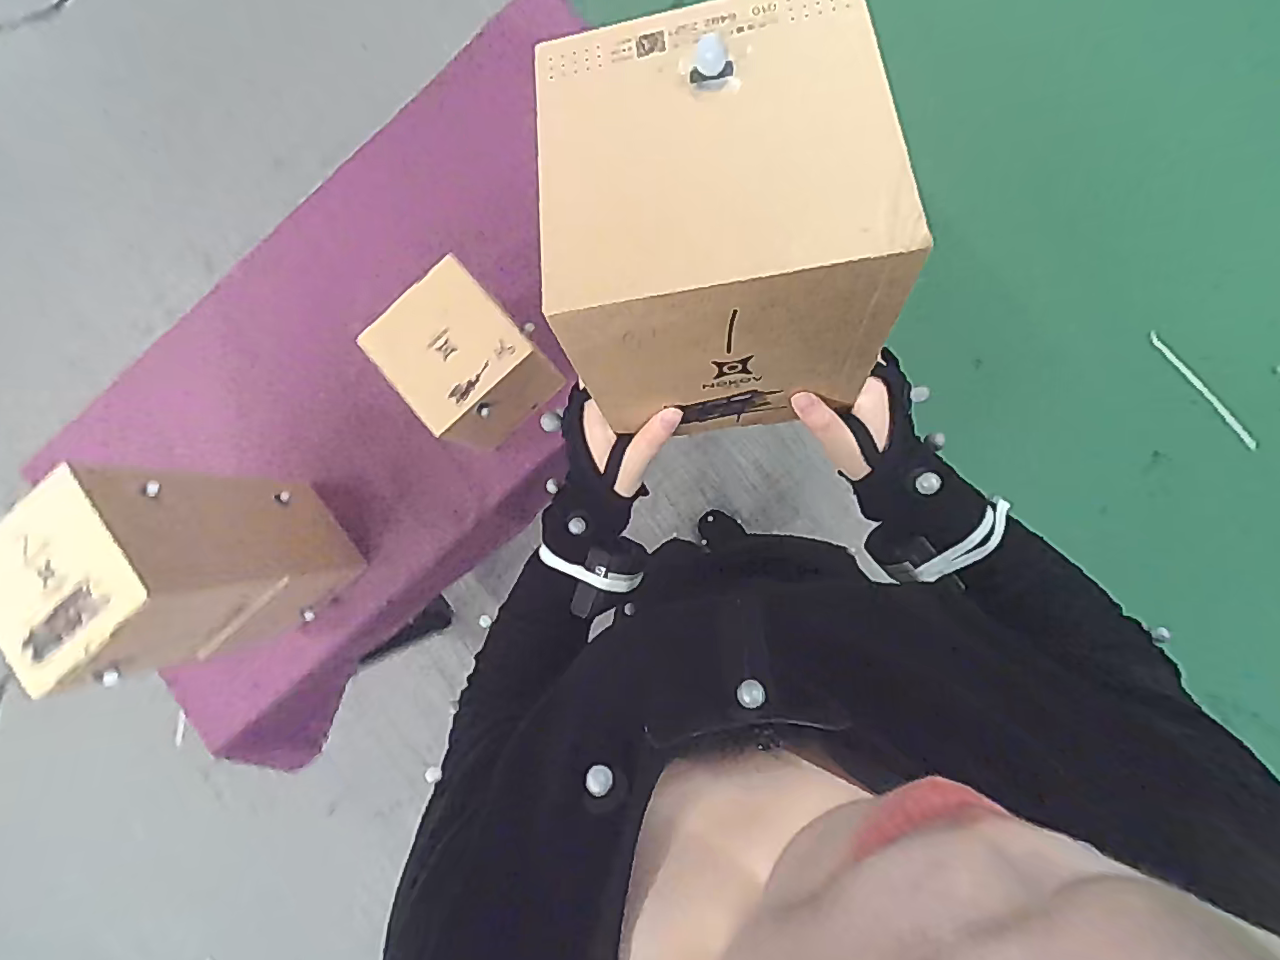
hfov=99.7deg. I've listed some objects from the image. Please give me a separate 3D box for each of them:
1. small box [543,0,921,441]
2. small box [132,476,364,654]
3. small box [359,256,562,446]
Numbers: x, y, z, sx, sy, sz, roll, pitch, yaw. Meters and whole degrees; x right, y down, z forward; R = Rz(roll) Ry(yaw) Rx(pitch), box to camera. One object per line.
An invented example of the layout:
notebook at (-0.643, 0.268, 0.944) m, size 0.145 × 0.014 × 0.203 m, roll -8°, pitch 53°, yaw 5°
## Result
small box at (0.046, -0.138, 0.335) m, size 0.168 × 0.179 × 0.176 m, roll -6°, pitch 72°, yaw 8°
small box at (-0.551, 0.116, 0.783) m, size 0.168 × 0.176 × 0.179 m, roll -40°, pitch 84°, yaw 4°
small box at (-0.240, -0.167, 0.762) m, size 0.168 × 0.176 × 0.179 m, roll -42°, pitch 82°, yaw 4°
